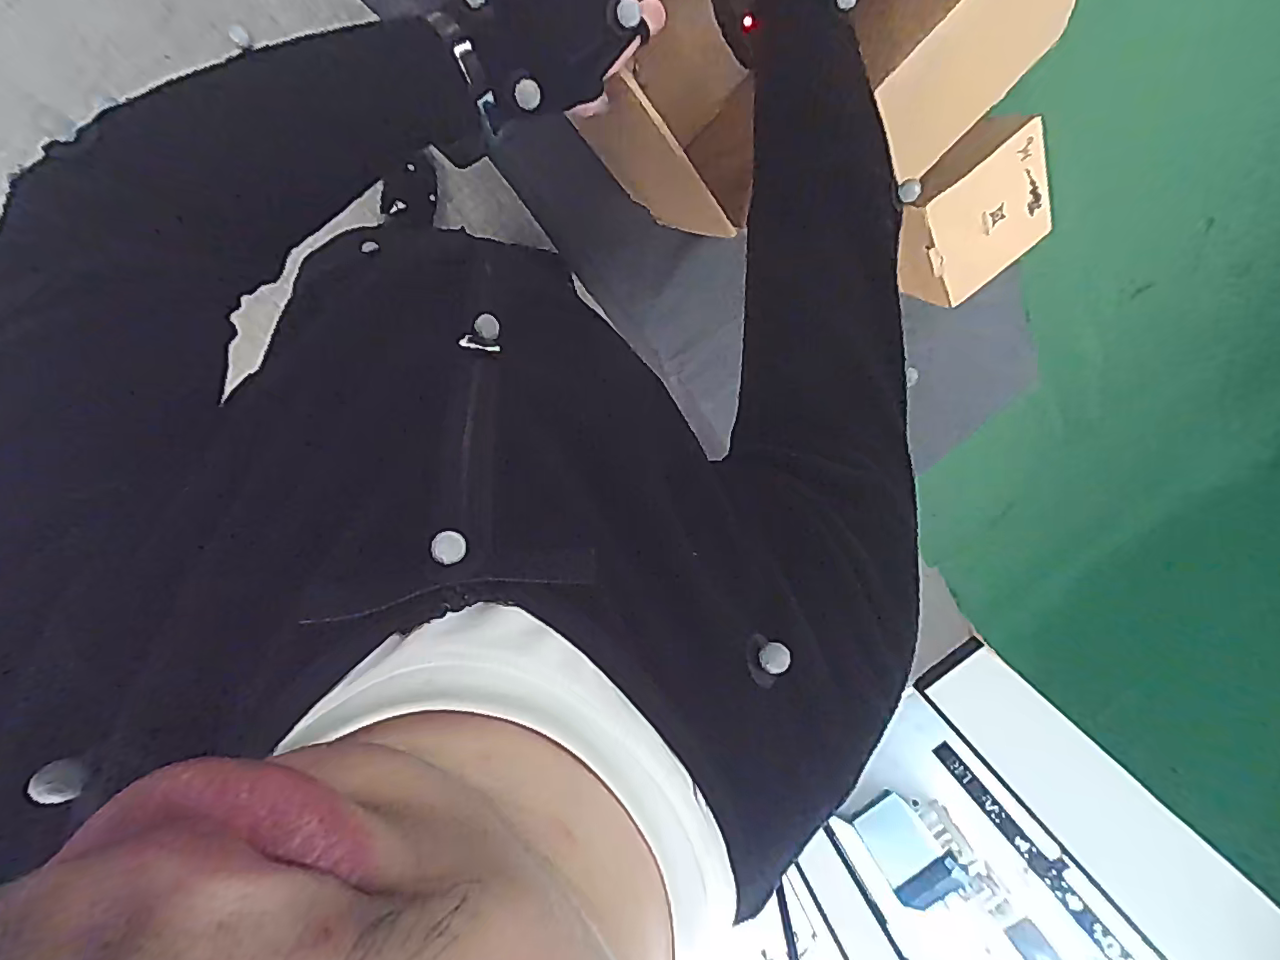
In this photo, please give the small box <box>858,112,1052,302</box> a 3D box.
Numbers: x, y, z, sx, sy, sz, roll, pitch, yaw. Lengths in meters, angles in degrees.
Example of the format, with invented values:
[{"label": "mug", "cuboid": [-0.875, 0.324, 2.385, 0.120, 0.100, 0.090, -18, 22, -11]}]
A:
[{"label": "small box", "cuboid": [0.442, -0.394, 0.780, 0.179, 0.176, 0.168, -36, 128, 5]}]
